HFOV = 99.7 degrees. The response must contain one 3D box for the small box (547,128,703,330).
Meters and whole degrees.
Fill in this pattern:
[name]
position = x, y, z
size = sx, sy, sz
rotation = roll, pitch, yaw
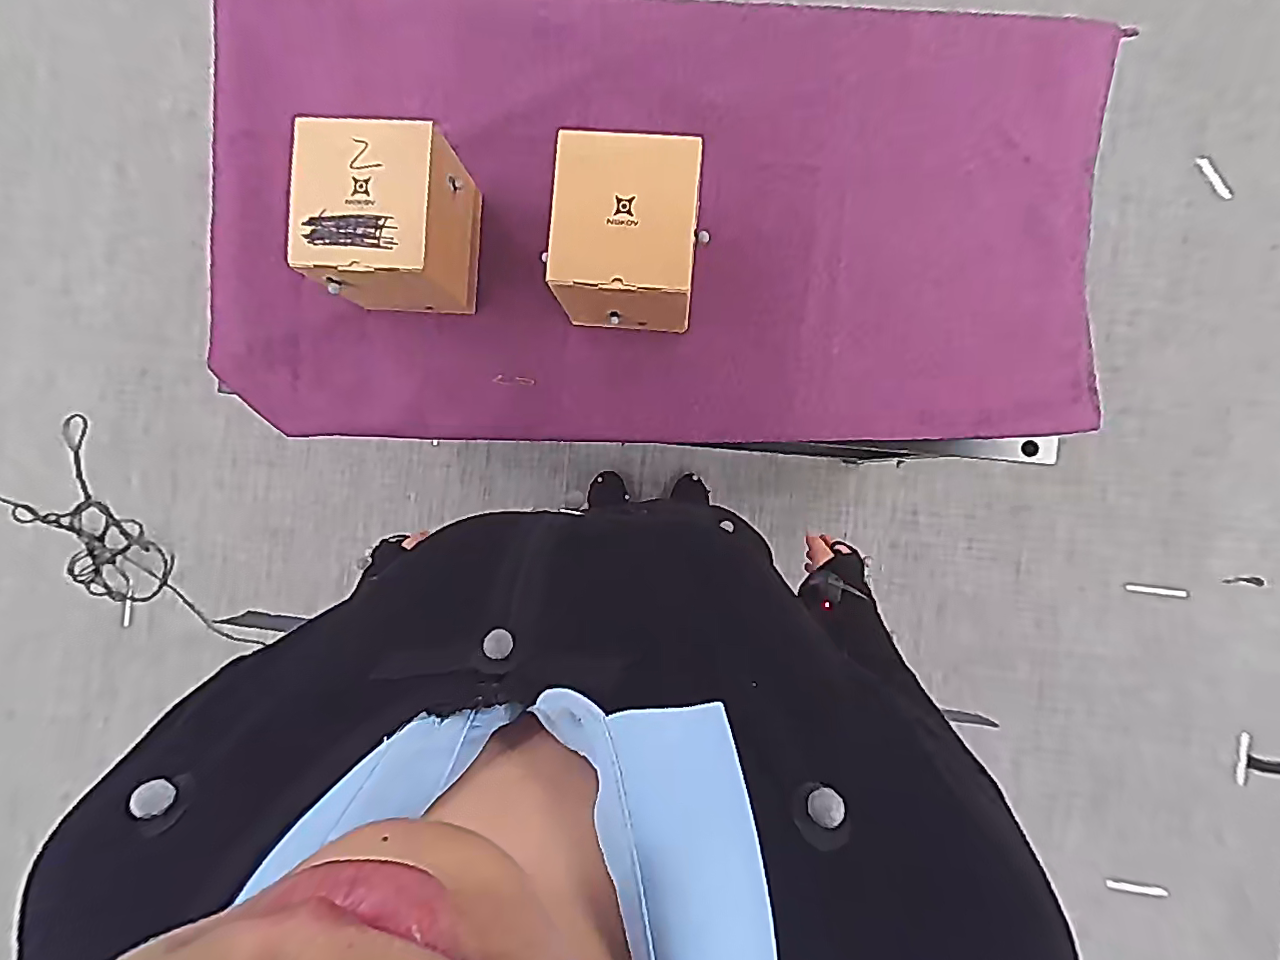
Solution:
[small box]
position = -0.015, -0.306, 0.689
size = 0.168, 0.176, 0.179
rotation = 5, 91, 3
